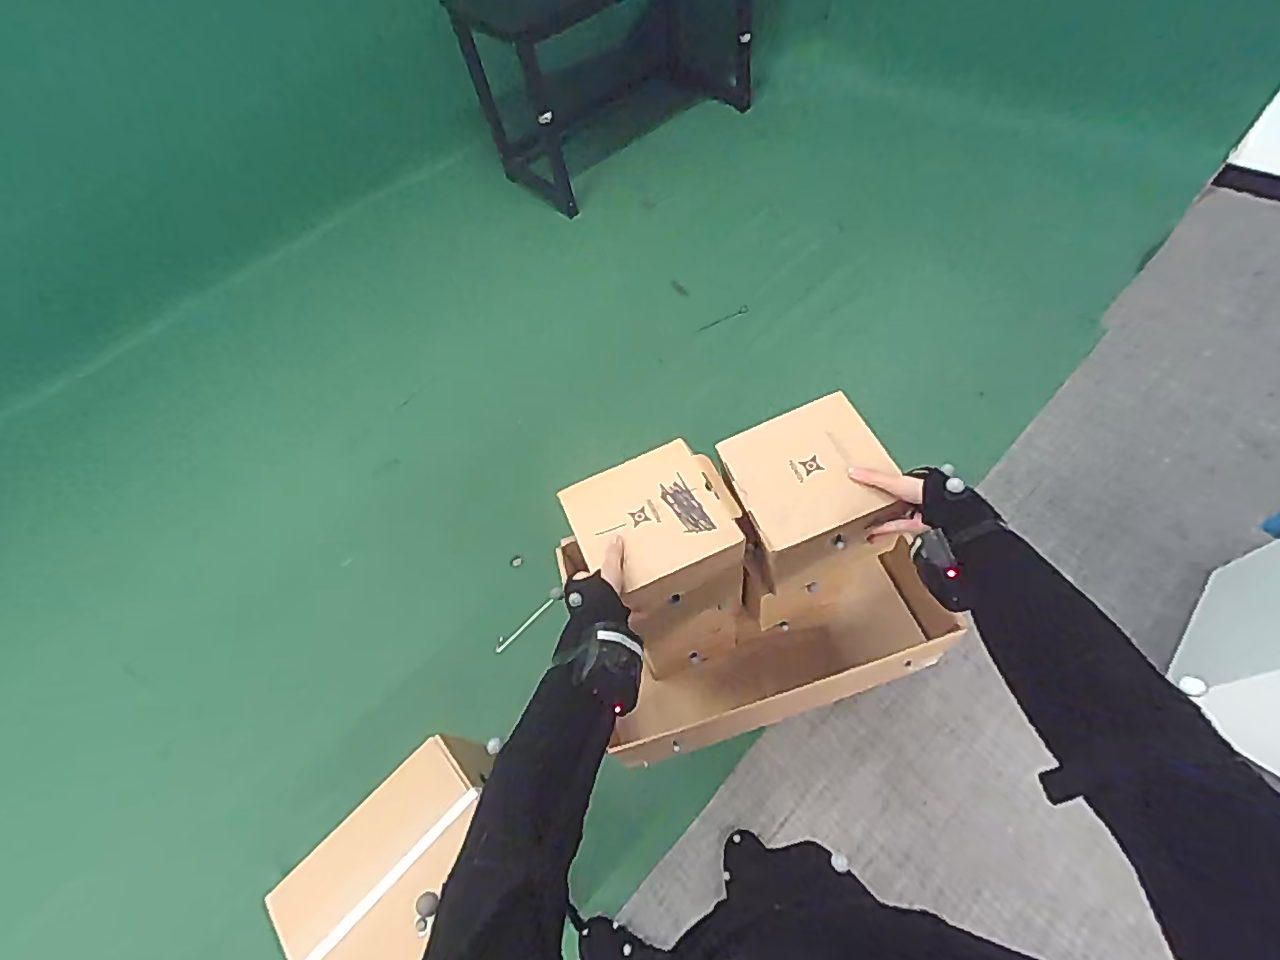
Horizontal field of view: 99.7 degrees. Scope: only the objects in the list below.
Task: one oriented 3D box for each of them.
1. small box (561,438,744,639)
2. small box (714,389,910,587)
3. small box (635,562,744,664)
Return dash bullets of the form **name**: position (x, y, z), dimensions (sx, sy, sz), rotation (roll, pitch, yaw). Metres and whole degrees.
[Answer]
- **small box**: position (0.019, 0.081, 0.706), dimensions (0.179, 0.176, 0.168), rotation (-24, 56, -6)
- **small box**: position (0.217, 0.020, 0.709), dimensions (0.179, 0.176, 0.168), rotation (-23, 58, 3)
- **small box**: position (0.043, 0.158, 0.850), dimensions (0.179, 0.176, 0.168), rotation (-32, 58, -12)
